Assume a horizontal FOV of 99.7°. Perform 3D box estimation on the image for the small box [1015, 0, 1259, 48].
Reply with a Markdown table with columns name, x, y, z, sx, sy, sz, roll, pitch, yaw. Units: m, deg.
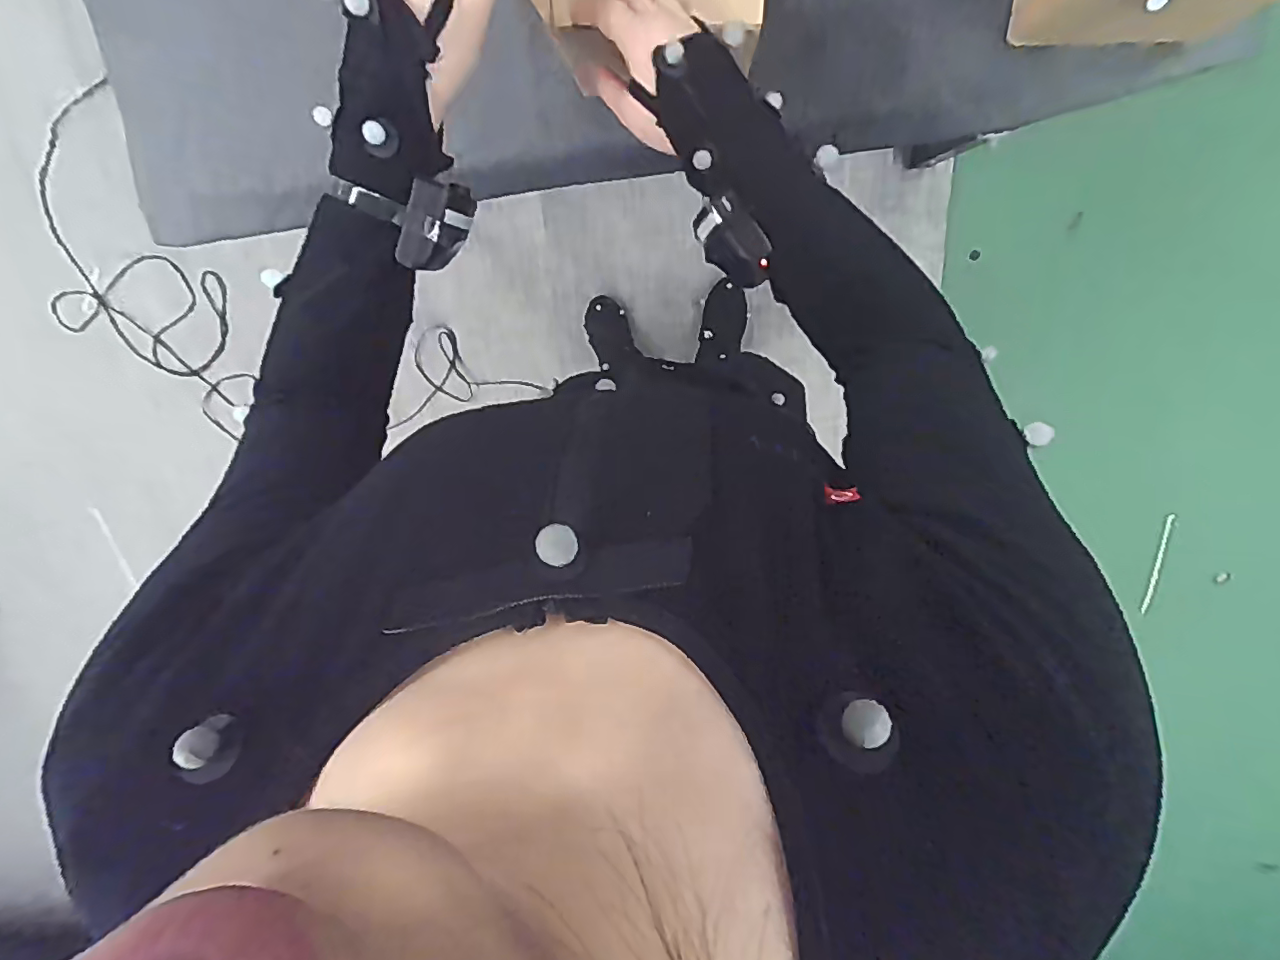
| name | x | y | z | sx | sy | sz | roll | pitch | yaw |
| --- | --- | --- | --- | --- | --- | --- | --- | --- | --- |
| small box | 0.447 | -0.480 | 0.435 | 0.179 | 0.176 | 0.168 | 2 | 109 | 5 |

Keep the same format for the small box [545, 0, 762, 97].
| name | x | y | z | sx | sy | sz | roll | pitch | yaw |
| --- | --- | --- | --- | --- | --- | --- | --- | --- | --- |
| small box | 0.019 | -0.463 | 0.482 | 0.179 | 0.176 | 0.168 | 3 | 111 | 4 |
